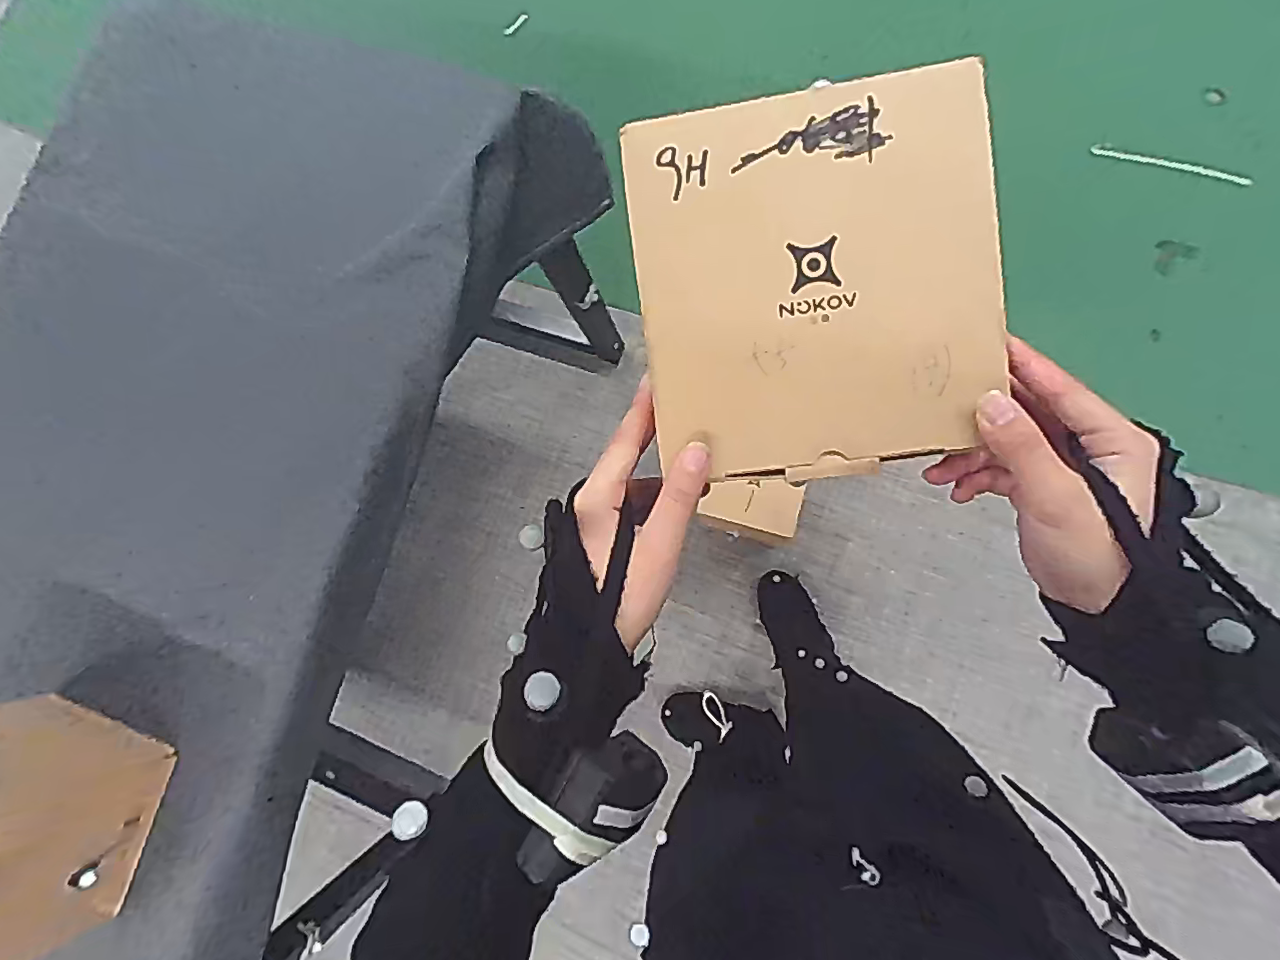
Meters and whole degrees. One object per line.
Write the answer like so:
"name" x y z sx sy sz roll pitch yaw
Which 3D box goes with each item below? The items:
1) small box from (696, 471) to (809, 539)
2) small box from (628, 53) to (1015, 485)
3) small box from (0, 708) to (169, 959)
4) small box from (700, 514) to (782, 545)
"small box" 0.204 0.001 0.974 0.168 0.176 0.179 15 86 11
"small box" 0.092 -0.100 0.330 0.168 0.176 0.179 -7 95 6
"small box" -0.587 0.321 0.475 0.179 0.176 0.168 16 85 10
"small box" 0.229 0.030 1.134 0.168 0.176 0.179 15 85 11
